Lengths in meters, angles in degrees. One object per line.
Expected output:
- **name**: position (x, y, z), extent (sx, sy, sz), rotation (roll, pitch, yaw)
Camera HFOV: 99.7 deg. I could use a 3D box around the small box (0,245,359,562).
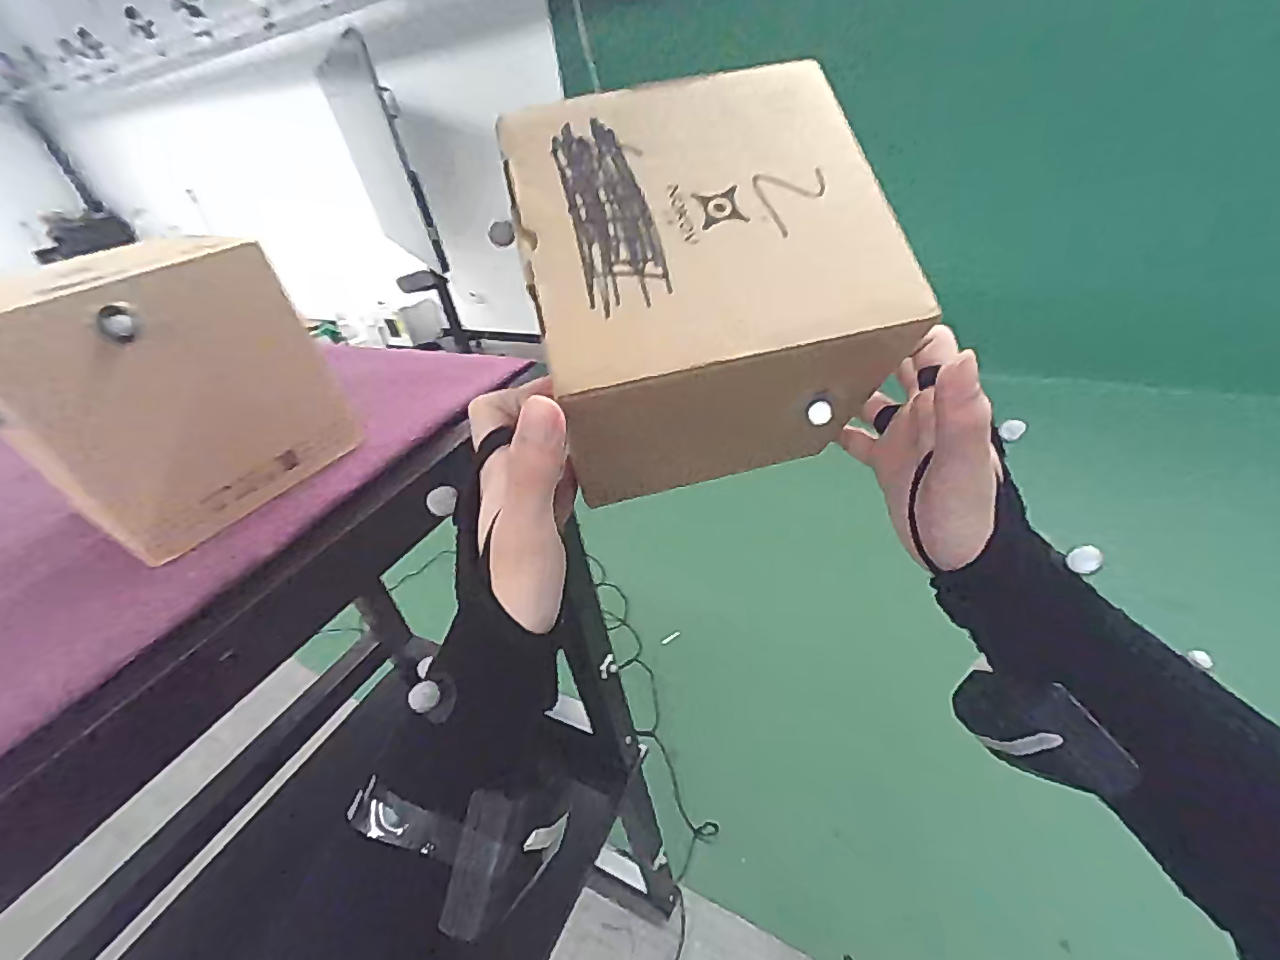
- **small box**: position (-0.358, -0.064, 0.405), extent (0.179, 0.176, 0.168), rotation (14, 43, 30)
